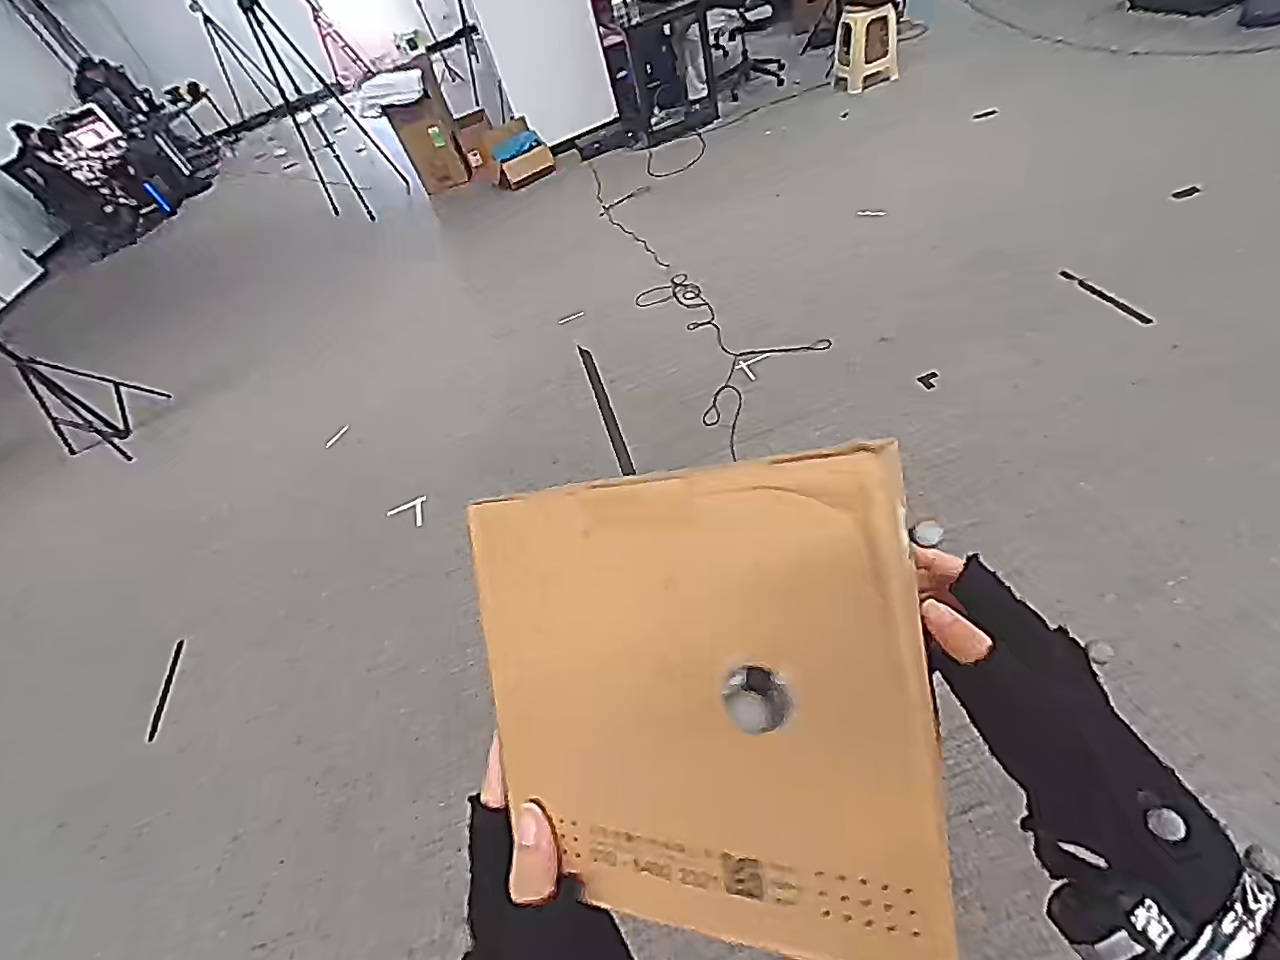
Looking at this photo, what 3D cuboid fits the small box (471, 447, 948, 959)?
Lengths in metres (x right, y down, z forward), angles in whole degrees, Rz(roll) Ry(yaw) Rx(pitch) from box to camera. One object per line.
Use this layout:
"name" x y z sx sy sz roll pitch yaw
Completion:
"small box" 0.049 0.083 0.270 0.168 0.179 0.176 -9 90 30
